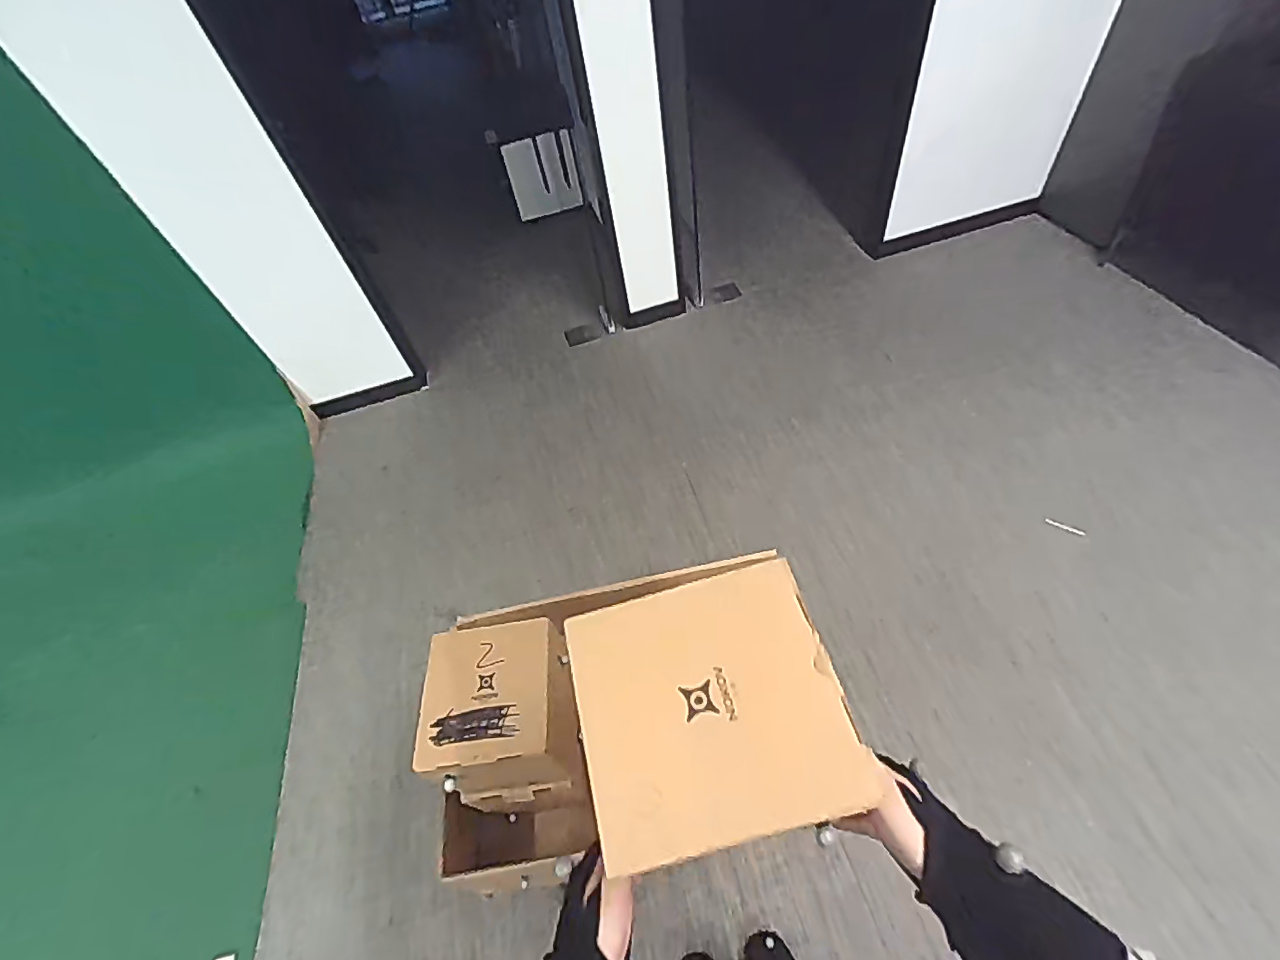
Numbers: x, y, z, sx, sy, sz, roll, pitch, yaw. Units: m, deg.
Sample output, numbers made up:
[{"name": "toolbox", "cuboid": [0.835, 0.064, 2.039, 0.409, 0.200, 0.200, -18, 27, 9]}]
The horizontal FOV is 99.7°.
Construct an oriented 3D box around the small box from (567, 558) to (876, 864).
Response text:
[{"name": "small box", "cuboid": [0.056, 0.190, 0.434, 0.179, 0.176, 0.168, -16, 56, -1]}]
